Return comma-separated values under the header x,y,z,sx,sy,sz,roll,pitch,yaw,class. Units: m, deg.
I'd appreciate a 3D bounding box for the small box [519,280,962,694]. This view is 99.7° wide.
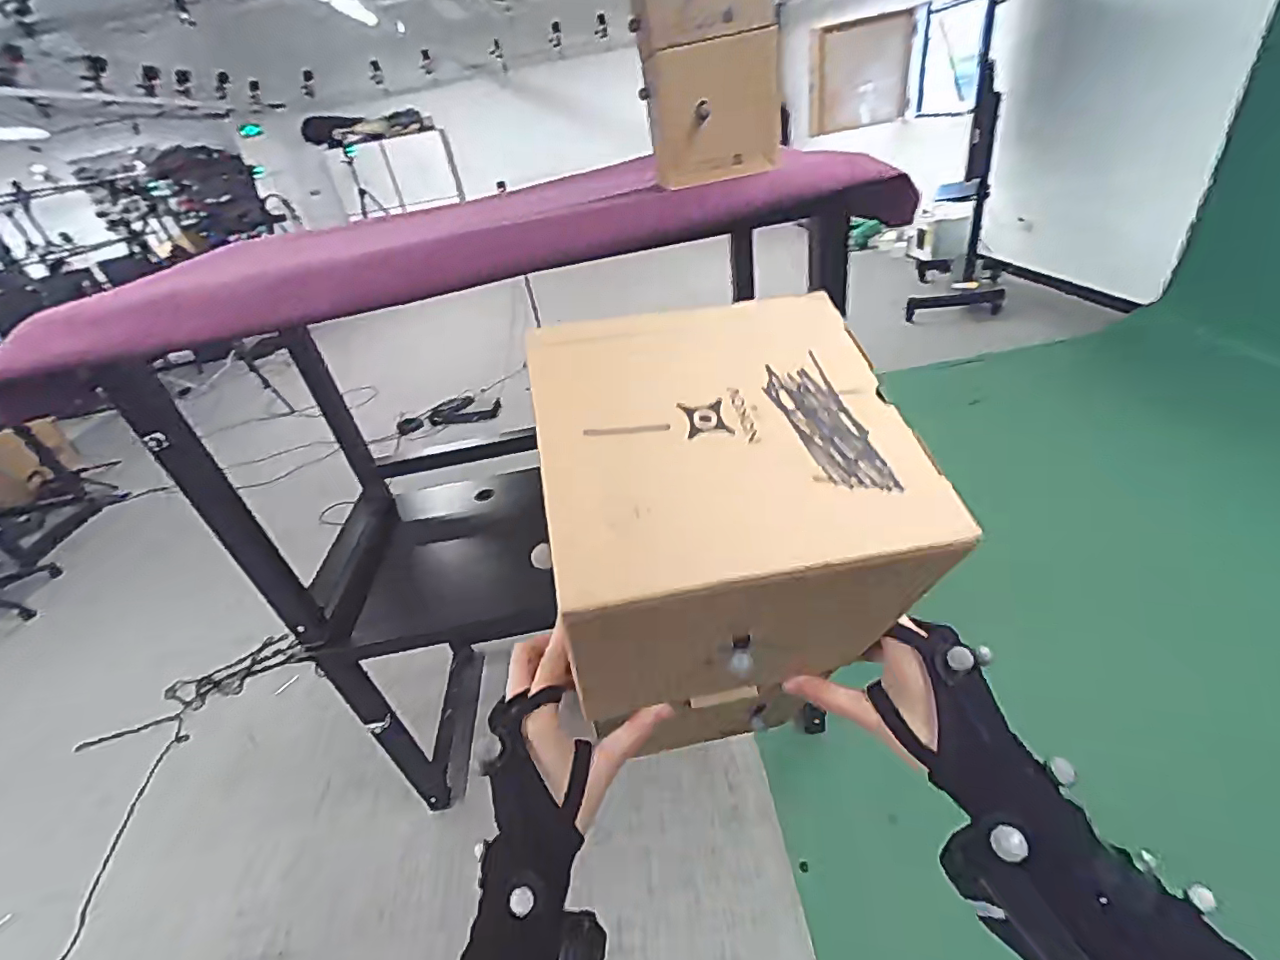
x,y,z,sx,sy,sz,roll,pitch,yaw,class
0.031,0.009,0.318,0.179,0.176,0.168,-8,54,-8,small box

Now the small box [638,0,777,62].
x,y,z,sx,sy,sz,roll,pitch,yaw,class
0.082,-0.683,0.726,0.168,0.176,0.179,-10,34,2,small box

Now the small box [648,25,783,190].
x,y,z,sx,sy,sz,roll,pitch,yaw,class
0.112,-0.548,0.814,0.168,0.176,0.179,-11,33,2,small box

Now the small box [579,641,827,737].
x,y,z,sx,sy,sz,roll,pitch,yaw,class
0.028,0.101,0.453,0.168,0.176,0.179,-7,54,-7,small box
